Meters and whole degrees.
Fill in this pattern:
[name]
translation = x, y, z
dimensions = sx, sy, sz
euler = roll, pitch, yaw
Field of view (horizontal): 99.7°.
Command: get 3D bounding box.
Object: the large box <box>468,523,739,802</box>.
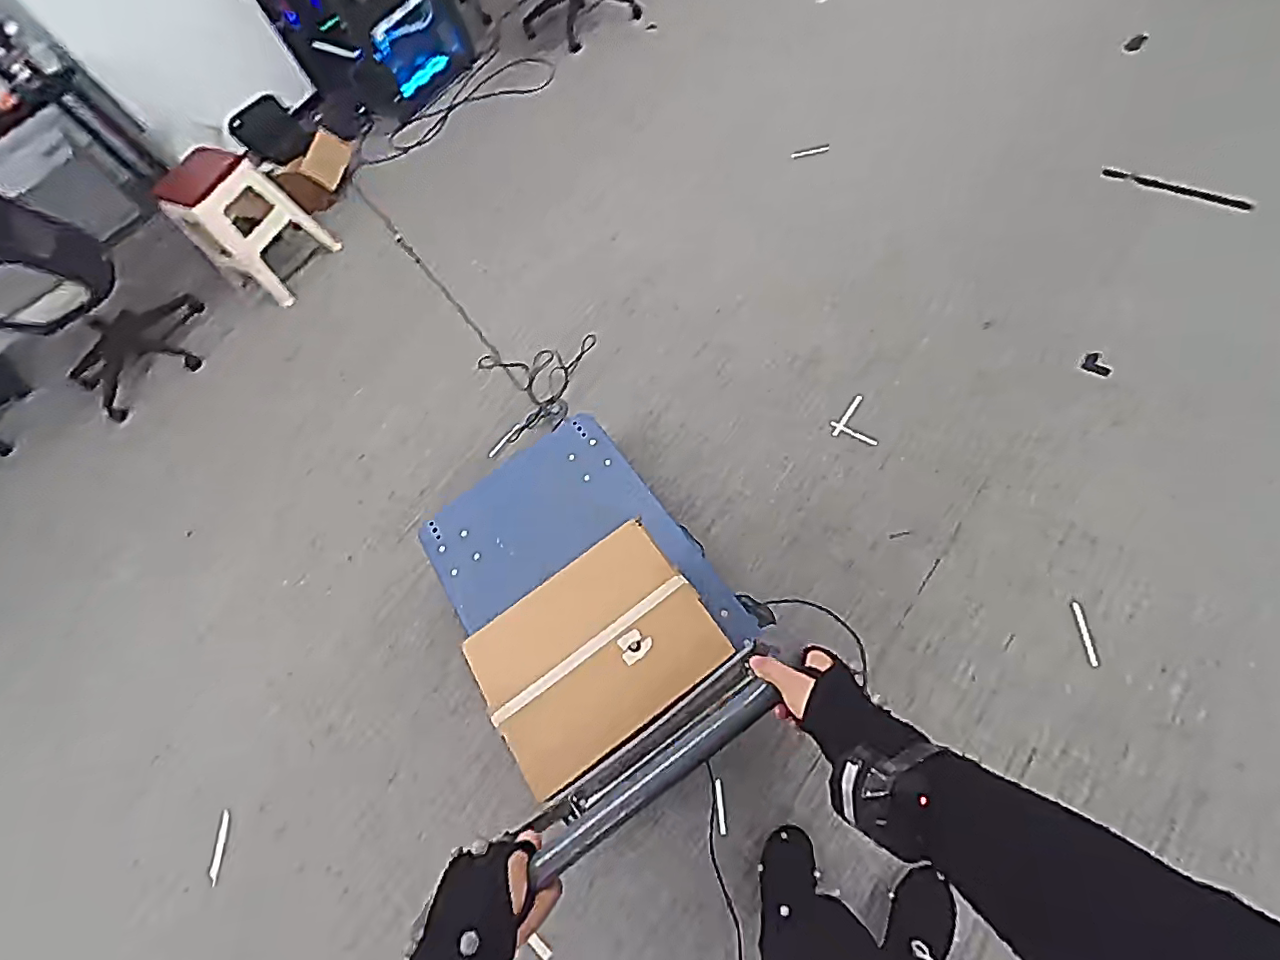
[large box]
translation = -0.053, 0.365, 1.091
dimensions = 0.408, 0.320, 0.320
euler = -36, 64, -6
